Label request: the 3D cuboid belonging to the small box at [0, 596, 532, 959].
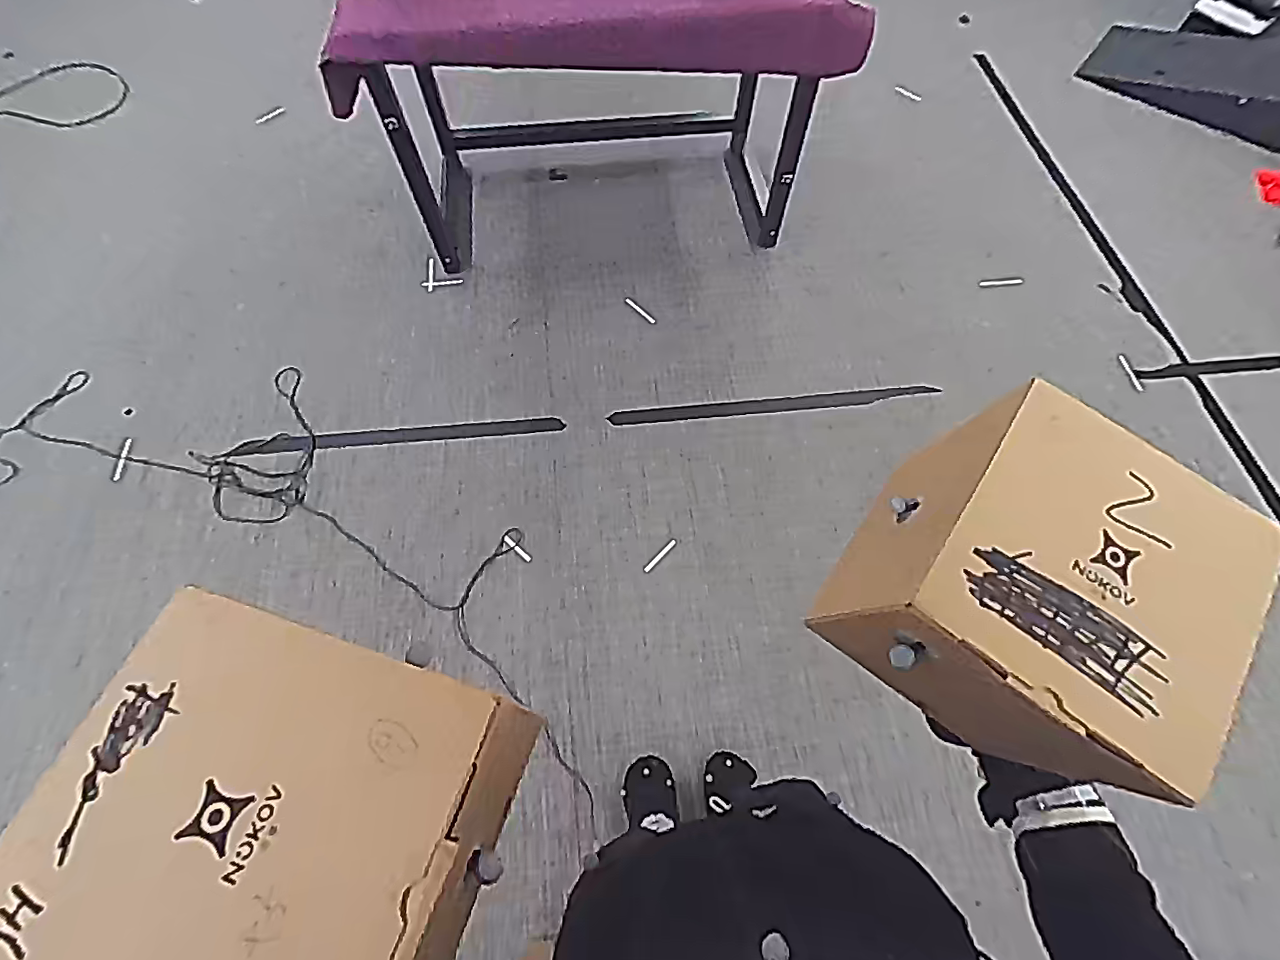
[{"bbox_3d":[-0.172,0.184,0.299,0.179,0.176,0.168,17,64,4],"label":"small box"}]
